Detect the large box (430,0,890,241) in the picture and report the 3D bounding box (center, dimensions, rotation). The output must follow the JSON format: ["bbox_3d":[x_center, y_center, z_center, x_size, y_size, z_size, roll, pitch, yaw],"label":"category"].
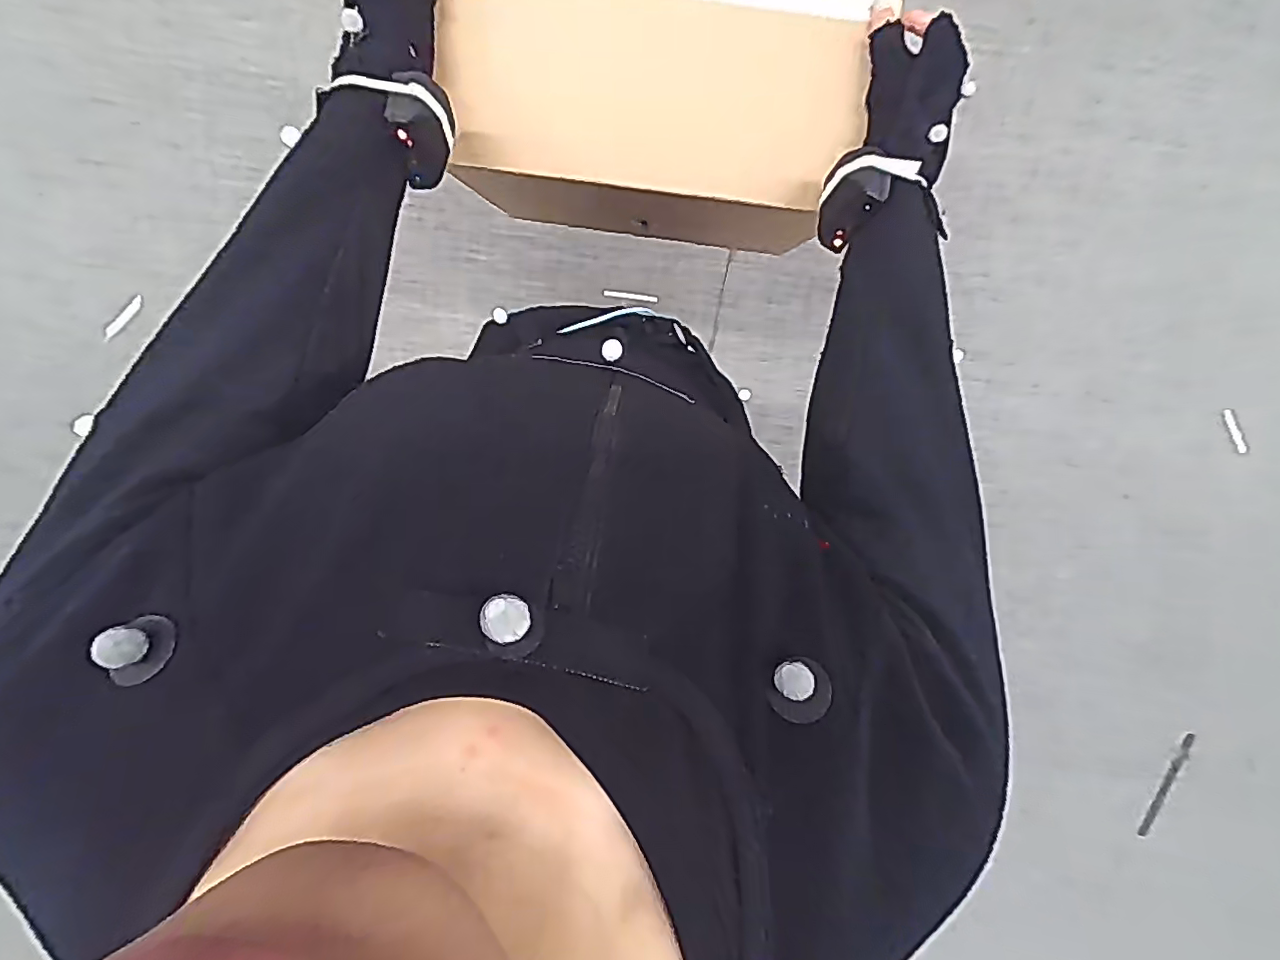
[{"bbox_3d":[0.026,-0.470,0.605,0.408,0.320,0.320,8,106,0],"label":"large box"}]
